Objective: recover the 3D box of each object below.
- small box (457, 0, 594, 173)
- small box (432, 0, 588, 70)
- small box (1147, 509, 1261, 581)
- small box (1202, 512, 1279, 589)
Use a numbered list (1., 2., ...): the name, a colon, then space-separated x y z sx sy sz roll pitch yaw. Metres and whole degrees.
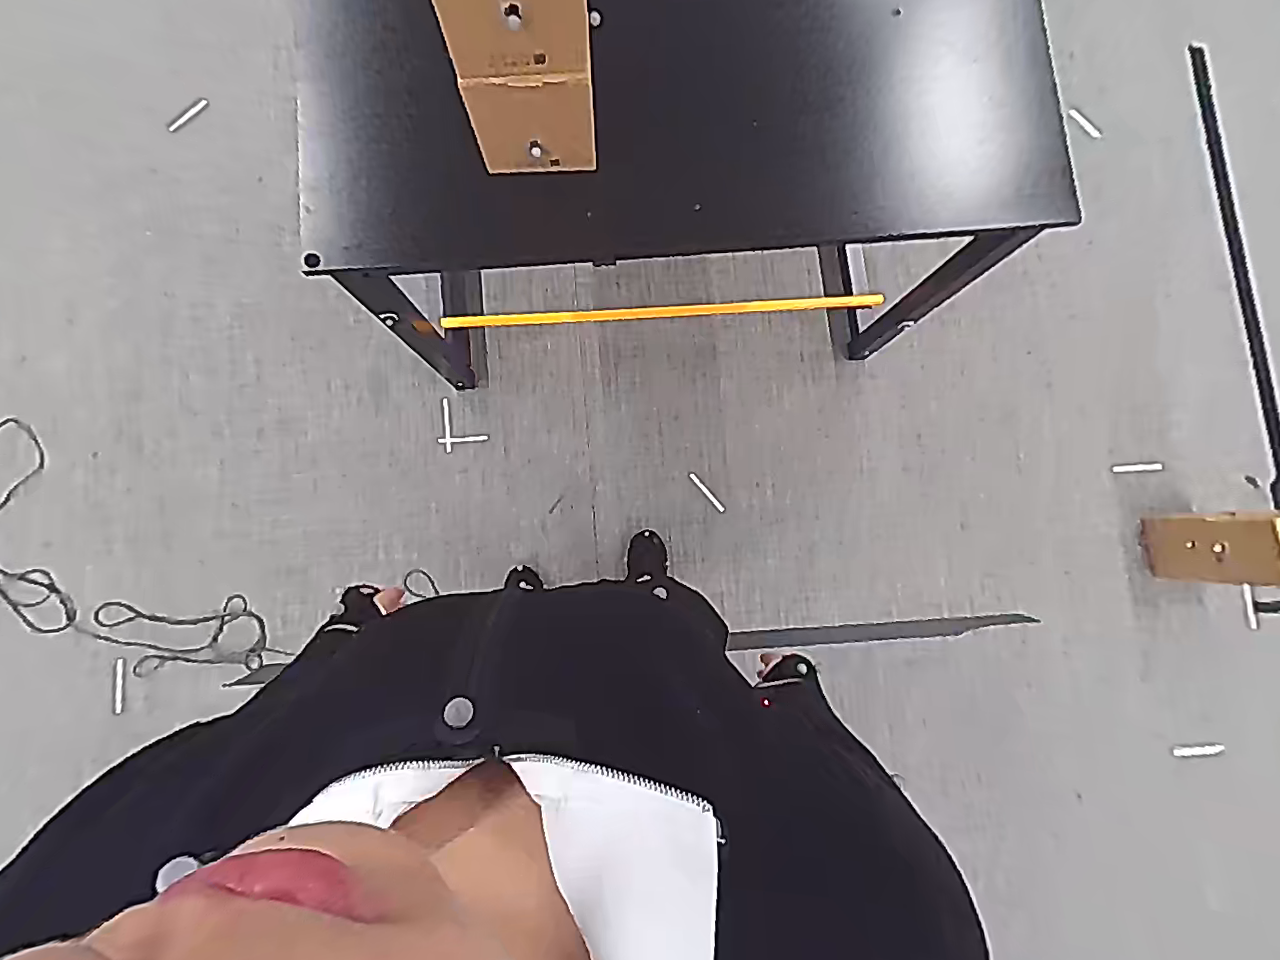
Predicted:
1. small box: -0.153 -0.569 0.762 0.168 0.176 0.179 -3 84 -2
2. small box: -0.150 -0.596 0.600 0.168 0.176 0.179 -6 84 -3
3. small box: 1.545 0.178 1.476 0.168 0.176 0.179 -6 85 -2
4. small box: 1.548 0.165 1.314 0.179 0.176 0.168 -8 83 -1
